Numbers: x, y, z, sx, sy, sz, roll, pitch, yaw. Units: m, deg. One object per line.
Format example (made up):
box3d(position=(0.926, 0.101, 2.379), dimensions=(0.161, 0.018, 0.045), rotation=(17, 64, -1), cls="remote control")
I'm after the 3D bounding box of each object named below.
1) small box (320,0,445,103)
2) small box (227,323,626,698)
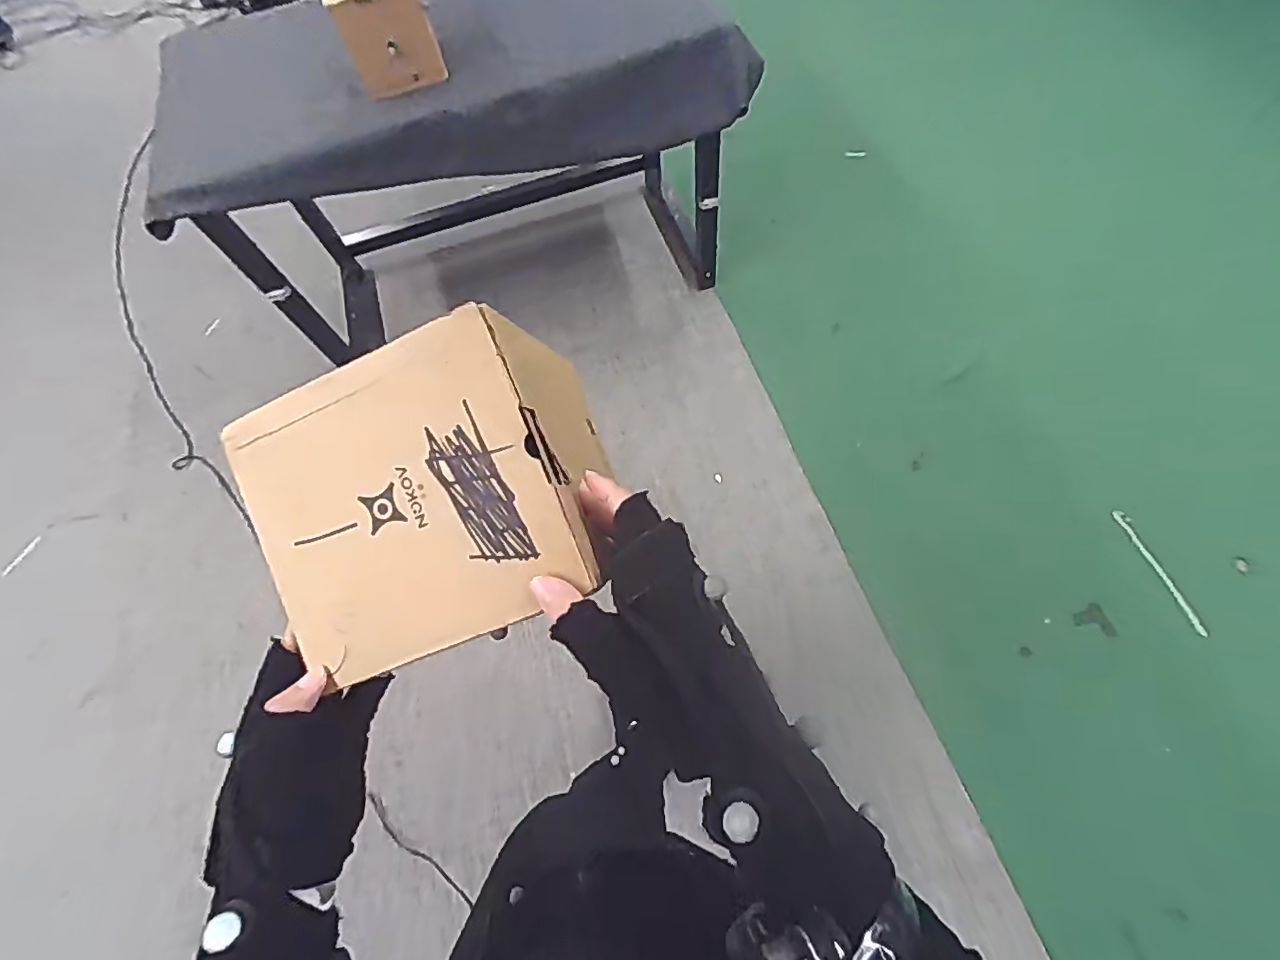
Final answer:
box3d(position=(-0.506, -0.887, 1.074), dimensions=(0.168, 0.176, 0.179), rotation=(-20, 65, -4), cls="small box")
box3d(position=(-0.119, 0.016, 0.377), dimensions=(0.179, 0.176, 0.168), rotation=(-22, 88, 9), cls="small box")
